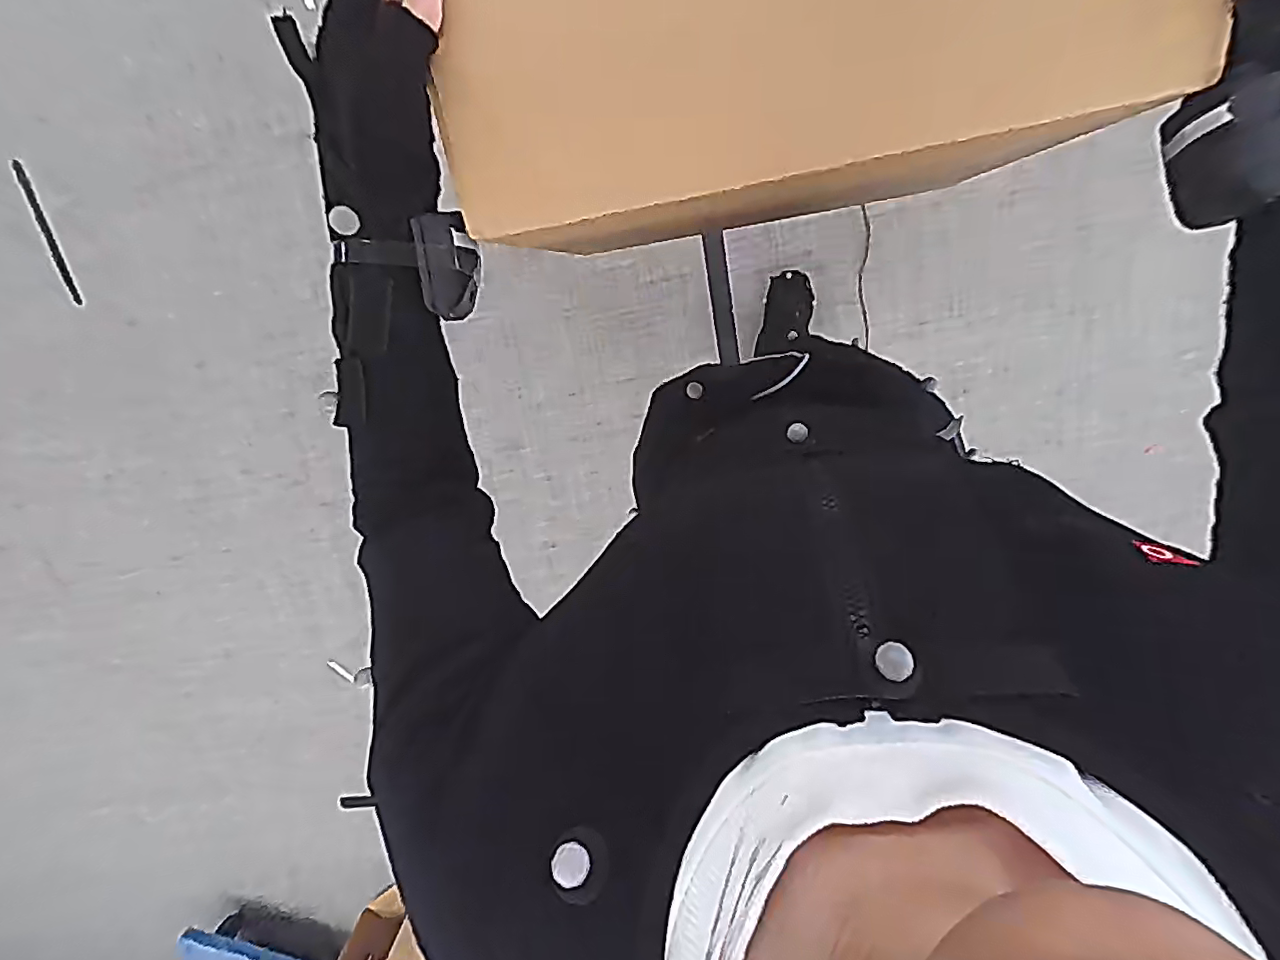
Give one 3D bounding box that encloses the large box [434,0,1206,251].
[{"bbox_3d":[0.084,-0.382,0.405,0.408,0.320,0.320,-8,110,9],"label":"large box"}]
